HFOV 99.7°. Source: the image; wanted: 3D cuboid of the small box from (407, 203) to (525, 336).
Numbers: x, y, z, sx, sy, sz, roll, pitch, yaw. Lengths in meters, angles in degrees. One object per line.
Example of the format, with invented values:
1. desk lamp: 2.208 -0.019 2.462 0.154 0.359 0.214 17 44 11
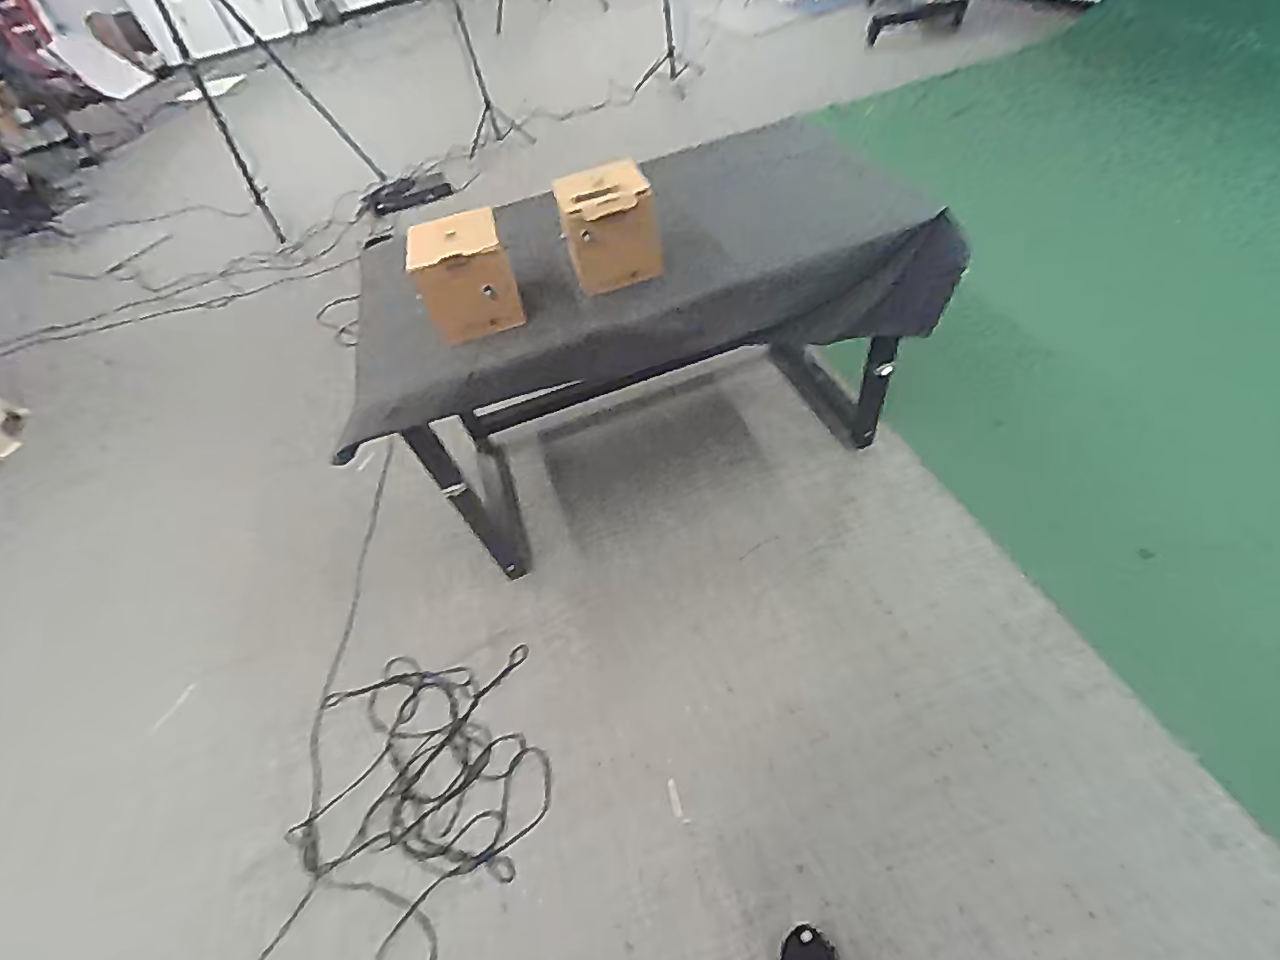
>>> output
1. small box: -0.332 -0.398 1.046 0.168 0.176 0.179 -17 50 -4
